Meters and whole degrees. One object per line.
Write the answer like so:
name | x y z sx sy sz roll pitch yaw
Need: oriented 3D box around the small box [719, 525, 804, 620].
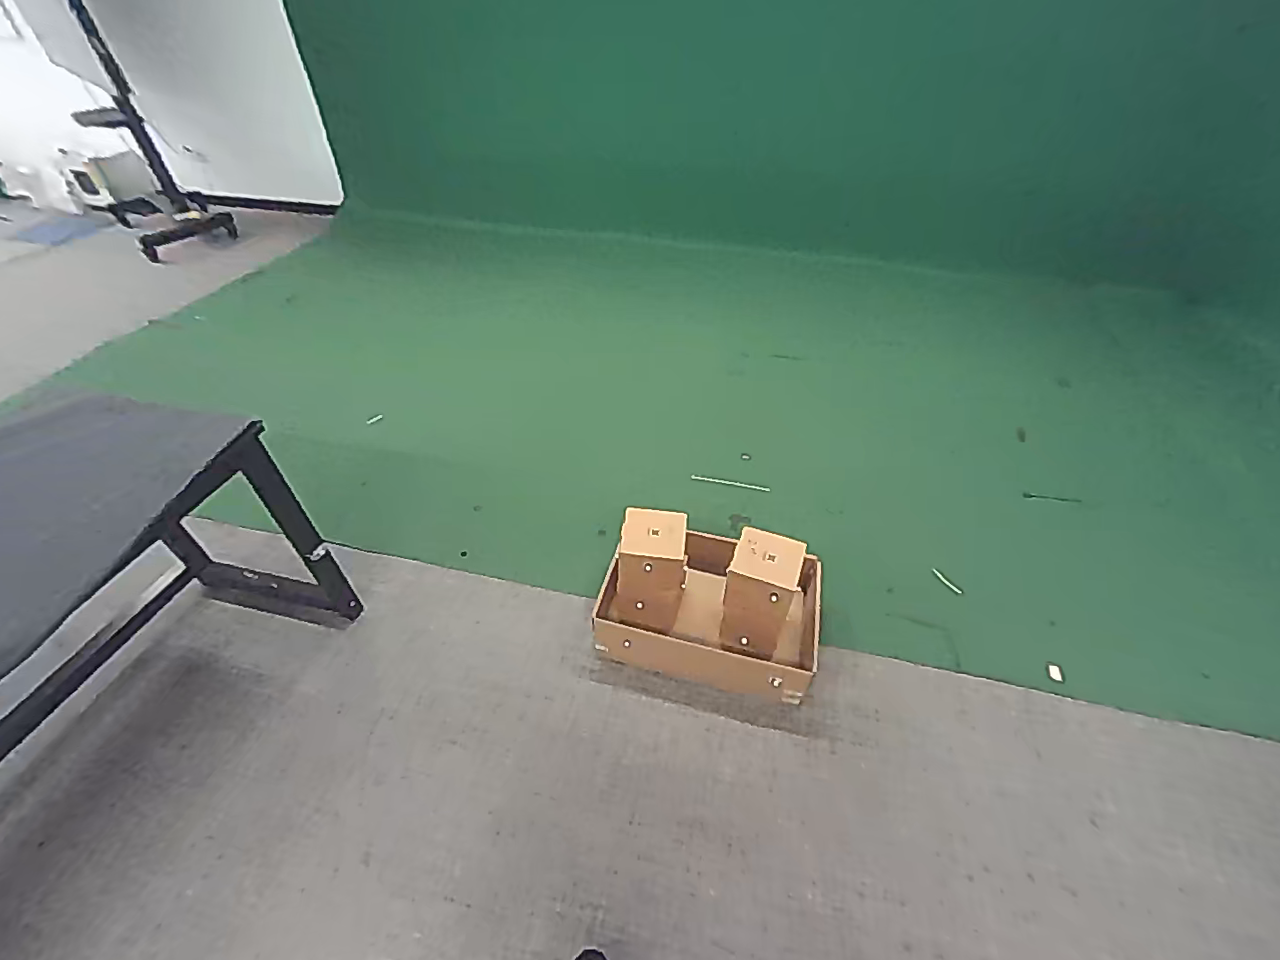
small box | 0.326 0.256 1.467 0.179 0.176 0.168 16 46 16

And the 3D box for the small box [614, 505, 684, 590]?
small box | 0.024 0.193 1.522 0.179 0.176 0.168 6 46 2

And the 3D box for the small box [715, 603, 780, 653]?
small box | 0.325 0.370 1.586 0.168 0.176 0.179 16 47 15
